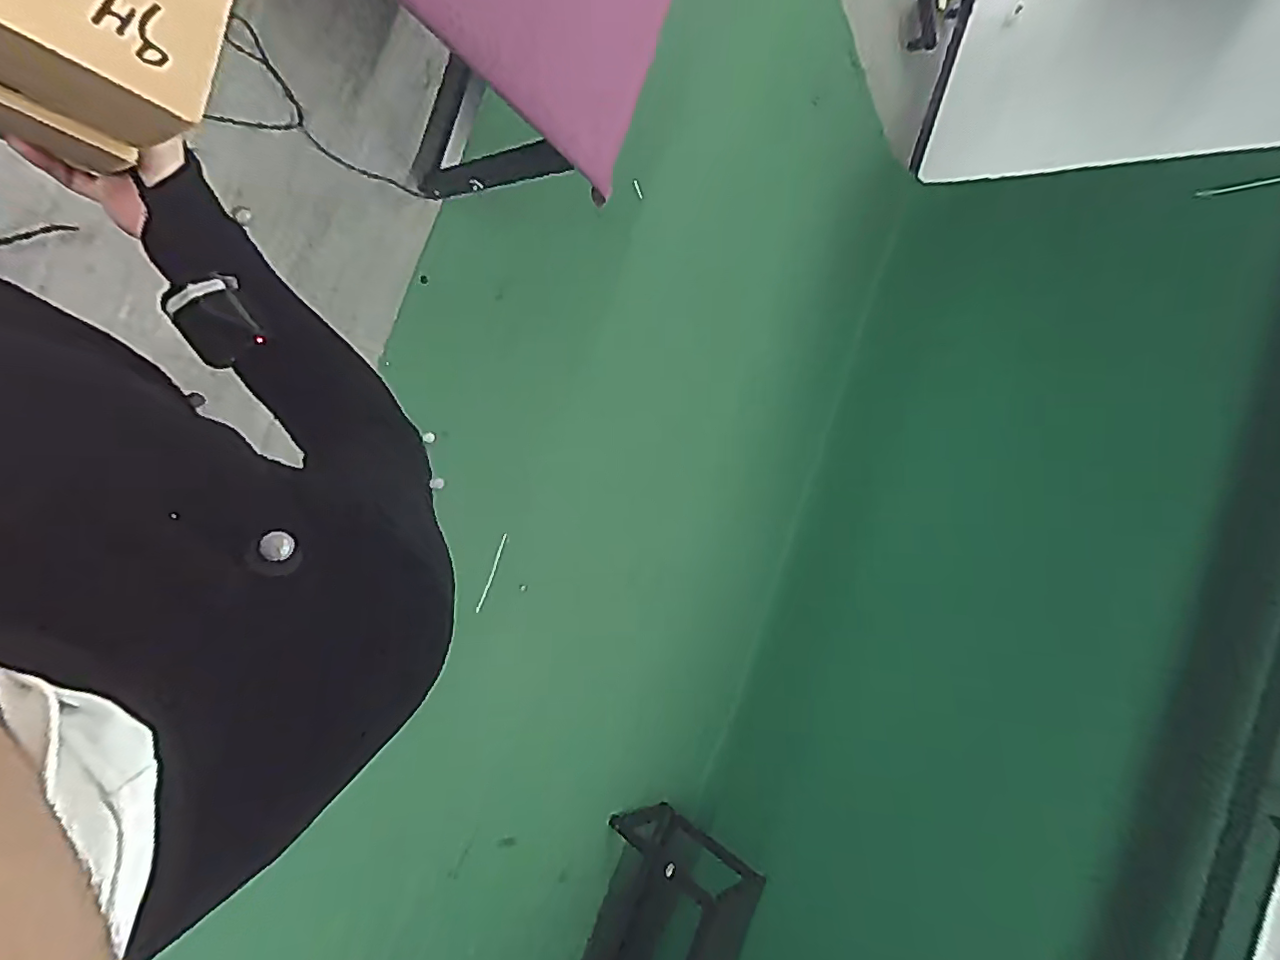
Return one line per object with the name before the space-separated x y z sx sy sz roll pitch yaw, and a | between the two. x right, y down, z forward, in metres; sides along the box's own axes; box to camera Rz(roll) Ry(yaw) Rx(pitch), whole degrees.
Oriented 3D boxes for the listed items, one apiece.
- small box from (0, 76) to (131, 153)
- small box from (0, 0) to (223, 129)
small box | -0.409 -0.332 0.331 0.168 0.176 0.179 14 97 -52
small box | -0.287 -0.289 0.230 0.168 0.176 0.179 12 98 -51
